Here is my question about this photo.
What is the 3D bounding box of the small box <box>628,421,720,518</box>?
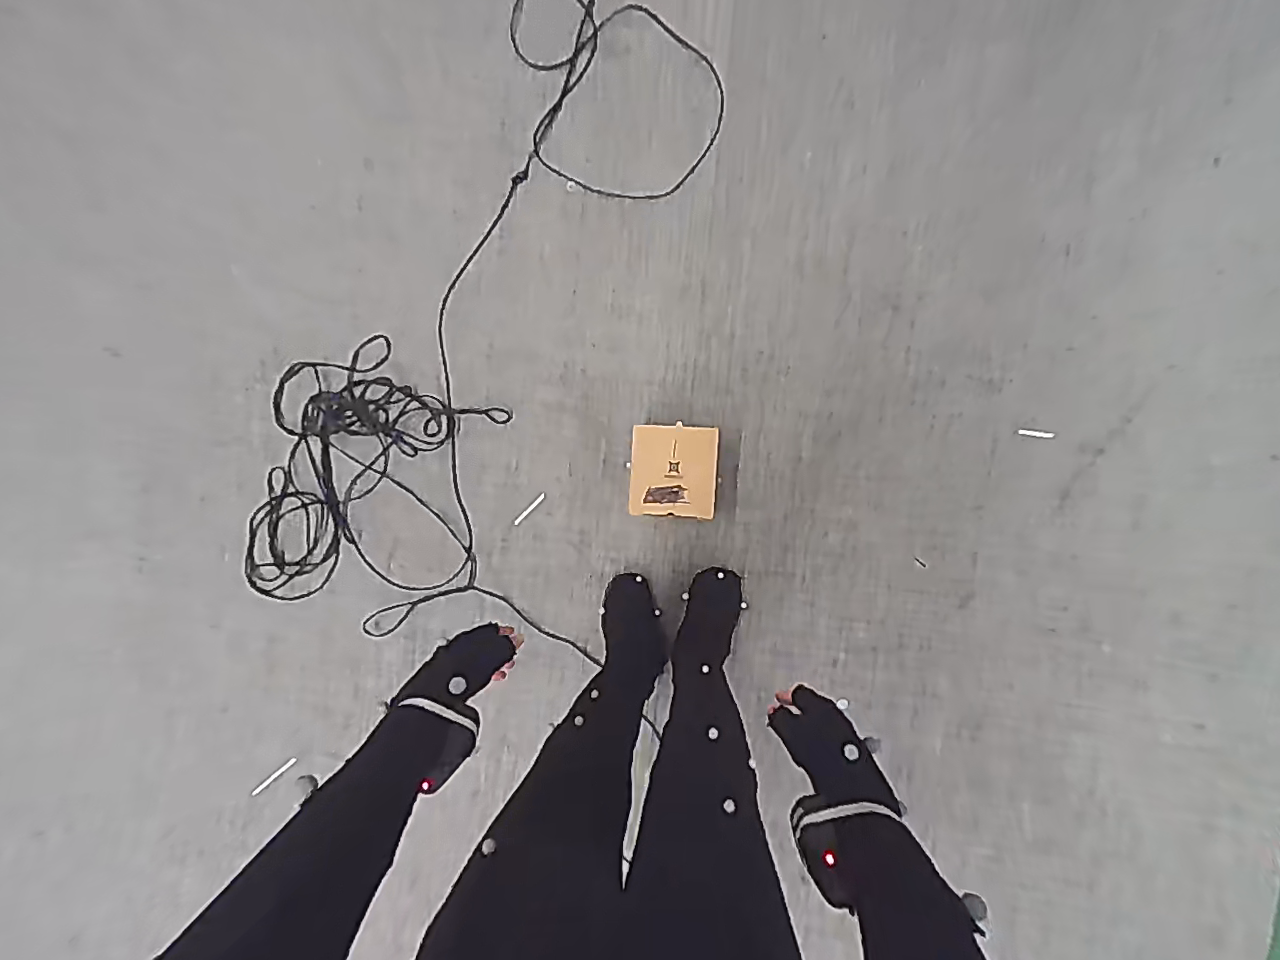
[{"bbox_3d":[0.071,-0.023,1.102,0.168,0.176,0.179,4,92,4],"label":"small box"}]
